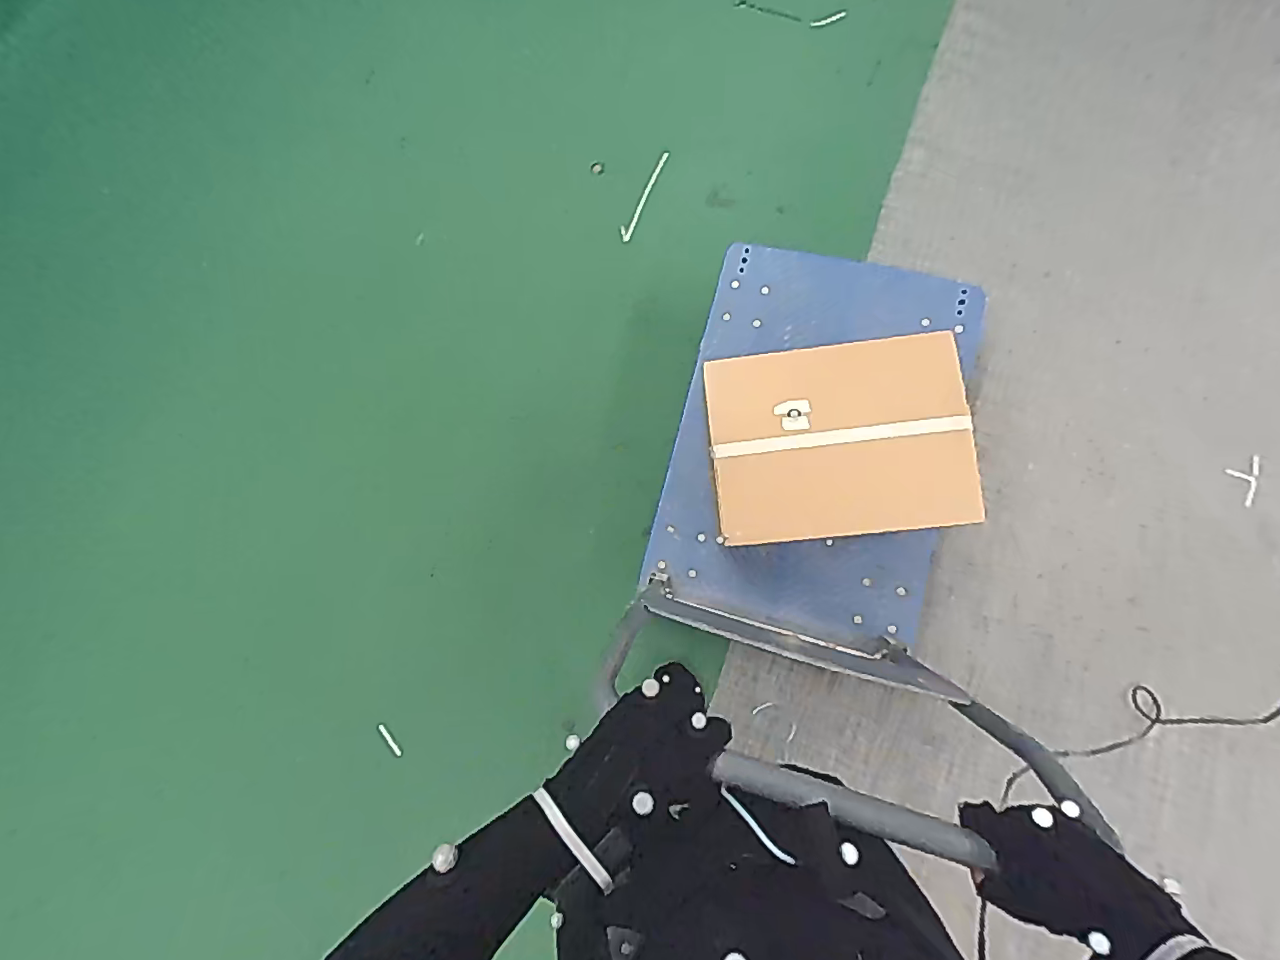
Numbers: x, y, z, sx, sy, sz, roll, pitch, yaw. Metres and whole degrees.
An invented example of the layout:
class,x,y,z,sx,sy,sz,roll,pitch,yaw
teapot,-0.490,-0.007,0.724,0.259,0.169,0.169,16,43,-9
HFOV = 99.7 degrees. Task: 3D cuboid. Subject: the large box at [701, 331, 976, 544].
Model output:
class,x,y,z,sx,sy,sz,roll,pitch,yaw
large box,0.338,-0.054,1.033,0.408,0.320,0.320,-7,82,7
